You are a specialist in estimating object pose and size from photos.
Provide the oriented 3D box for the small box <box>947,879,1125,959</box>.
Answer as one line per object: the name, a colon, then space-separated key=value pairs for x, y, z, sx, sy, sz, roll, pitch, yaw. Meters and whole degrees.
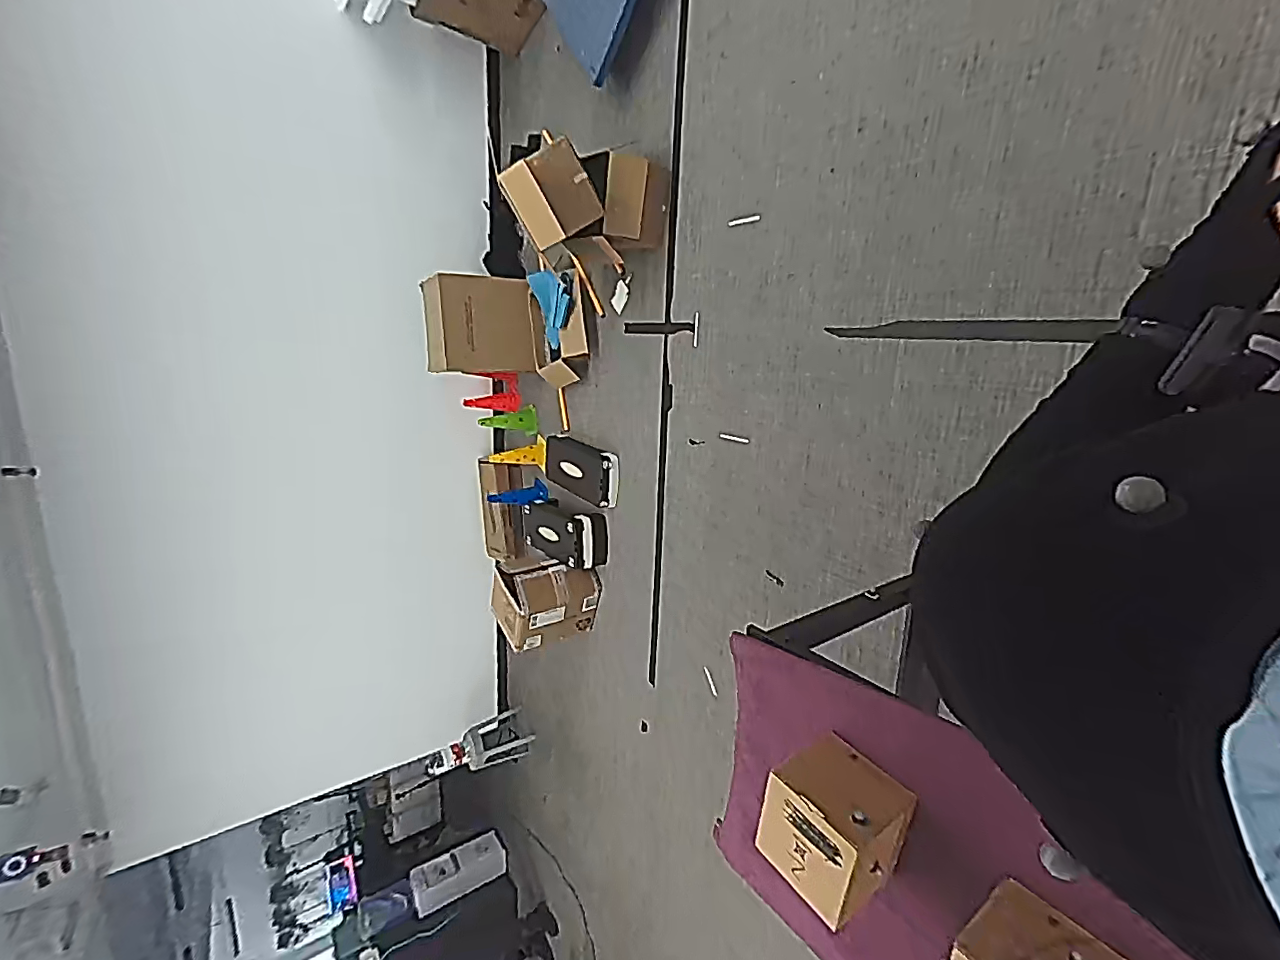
small box: x=0.495 y=0.666 z=0.675 sx=0.168 sy=0.176 sz=0.179 roll=22 pitch=113 yaw=51
